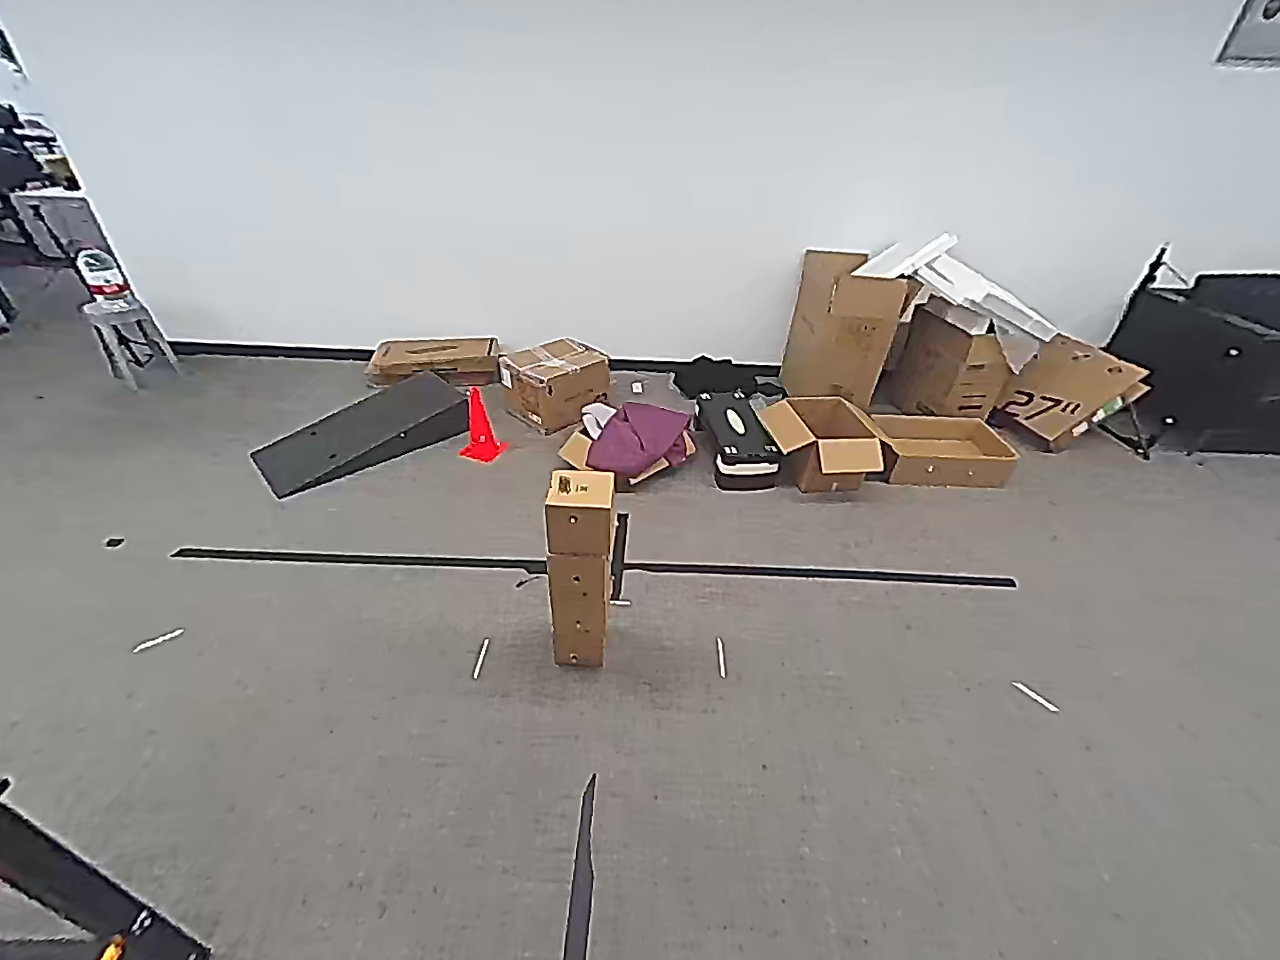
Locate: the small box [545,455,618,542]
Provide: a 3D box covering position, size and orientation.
[{"bbox_3d":[-0.150,0.050,1.441,0.179,0.176,0.168,2,35,-1],"label":"small box"}]

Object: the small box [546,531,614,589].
[{"bbox_3d":[-0.163,0.190,1.528,0.168,0.176,0.179,2,36,1],"label":"small box"}]

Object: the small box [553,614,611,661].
[{"bbox_3d":[-0.180,0.452,1.727,0.168,0.176,0.179,1,37,0],"label":"small box"}]

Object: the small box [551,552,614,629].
[{"bbox_3d":[-0.167,0.322,1.625,0.168,0.176,0.179,2,35,1],"label":"small box"}]
